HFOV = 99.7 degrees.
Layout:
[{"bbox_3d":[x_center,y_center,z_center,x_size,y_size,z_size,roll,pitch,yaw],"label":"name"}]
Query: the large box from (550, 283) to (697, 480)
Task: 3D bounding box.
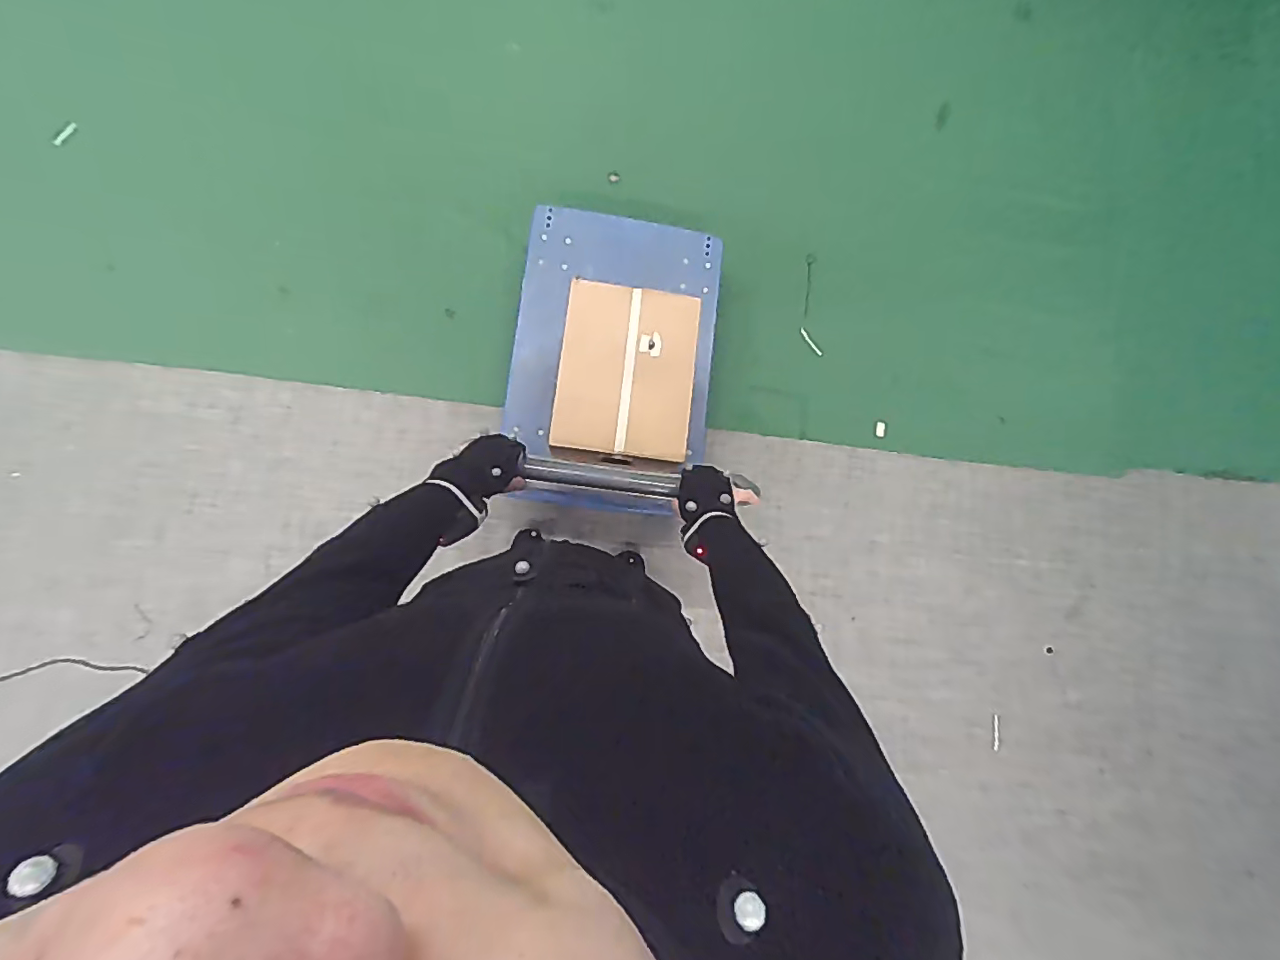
[{"bbox_3d":[-0.048,-0.228,1.394,0.320,0.320,0.408,7,80,-6],"label":"large box"}]
